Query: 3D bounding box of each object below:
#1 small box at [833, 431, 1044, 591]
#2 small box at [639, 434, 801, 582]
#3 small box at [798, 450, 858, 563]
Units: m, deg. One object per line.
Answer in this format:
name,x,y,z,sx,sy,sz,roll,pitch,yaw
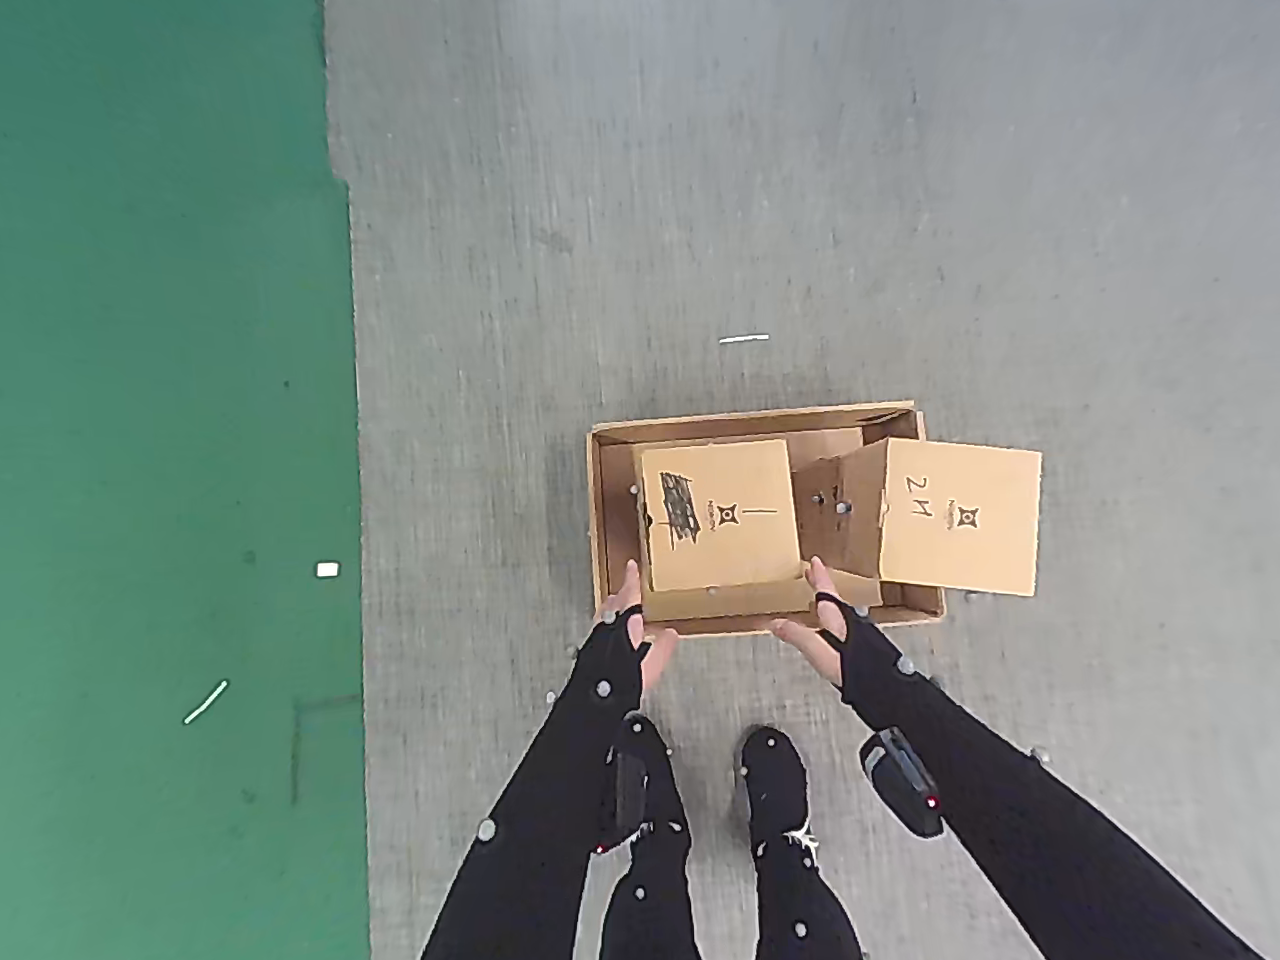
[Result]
small box,0.364,0.040,0.687,0.179,0.176,0.168,6,85,4
small box,0.093,0.042,0.703,0.179,0.176,0.168,-4,83,-1
small box,0.360,0.043,0.854,0.179,0.176,0.168,-2,85,3
